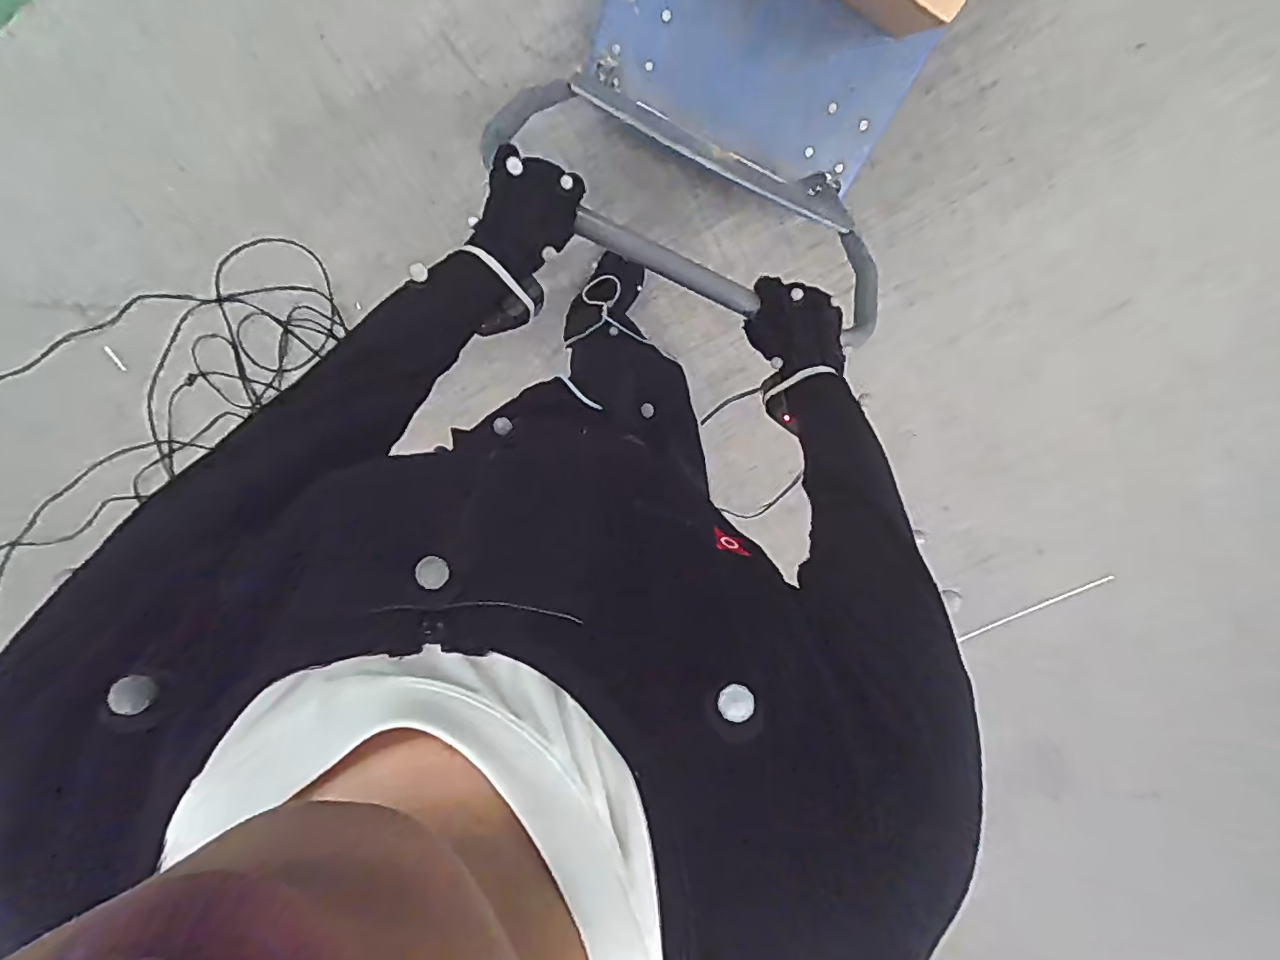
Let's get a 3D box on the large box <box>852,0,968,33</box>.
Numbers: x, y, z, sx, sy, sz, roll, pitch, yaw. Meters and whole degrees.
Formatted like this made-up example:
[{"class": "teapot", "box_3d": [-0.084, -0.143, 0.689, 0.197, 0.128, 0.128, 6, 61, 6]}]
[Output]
[{"class": "large box", "box_3d": [0.335, -0.884, 0.721, 0.408, 0.320, 0.320, 28, 127, -10]}]
